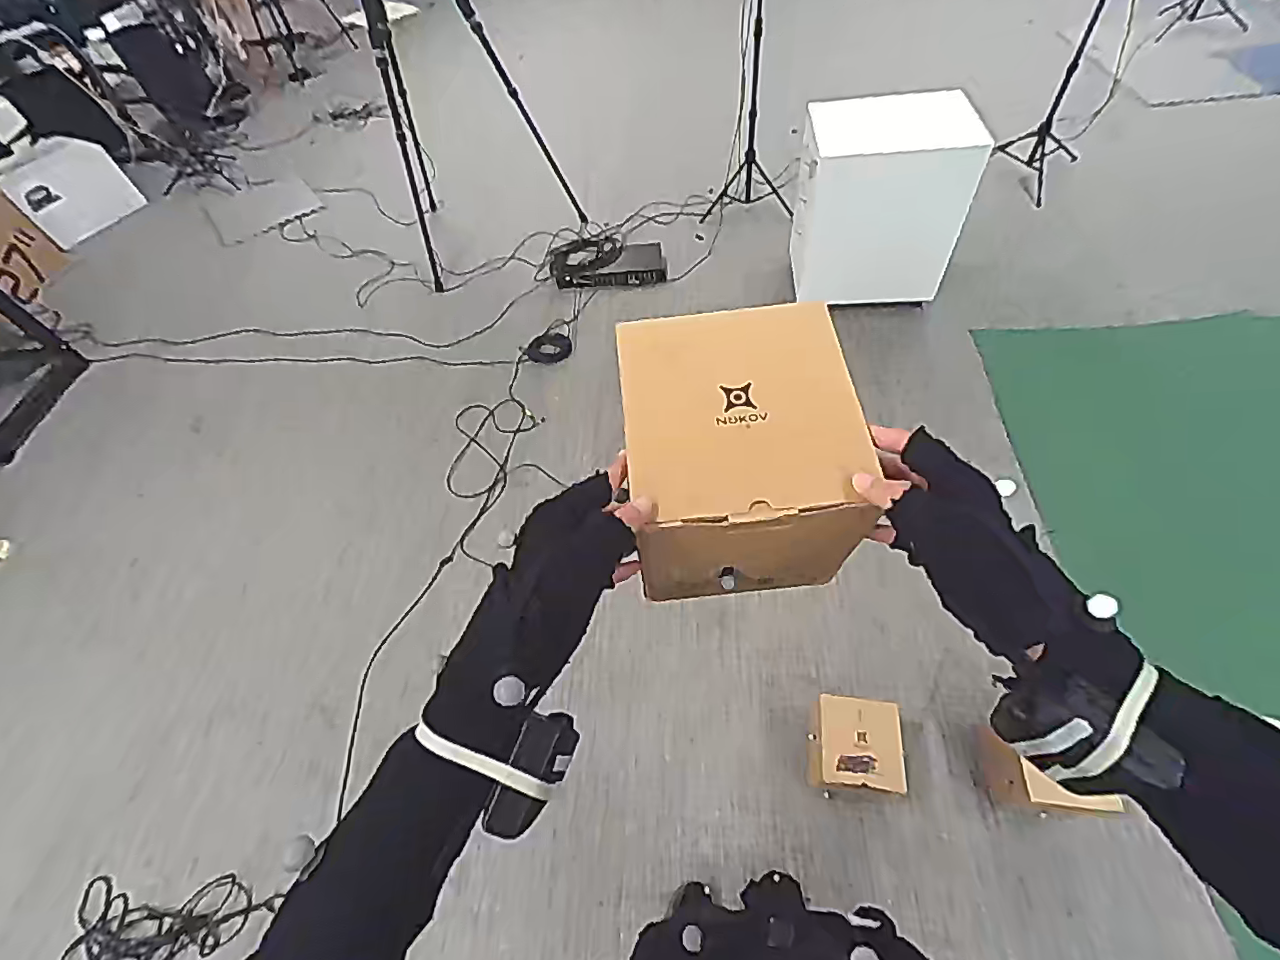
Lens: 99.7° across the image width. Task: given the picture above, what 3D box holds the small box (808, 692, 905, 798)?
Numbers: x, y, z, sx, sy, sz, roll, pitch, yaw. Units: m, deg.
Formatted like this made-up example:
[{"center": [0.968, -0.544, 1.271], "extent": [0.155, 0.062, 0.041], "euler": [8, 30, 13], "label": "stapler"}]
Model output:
[{"center": [0.473, 0.593, 1.202], "extent": [0.168, 0.176, 0.179], "euler": [4, 55, 10], "label": "small box"}]
